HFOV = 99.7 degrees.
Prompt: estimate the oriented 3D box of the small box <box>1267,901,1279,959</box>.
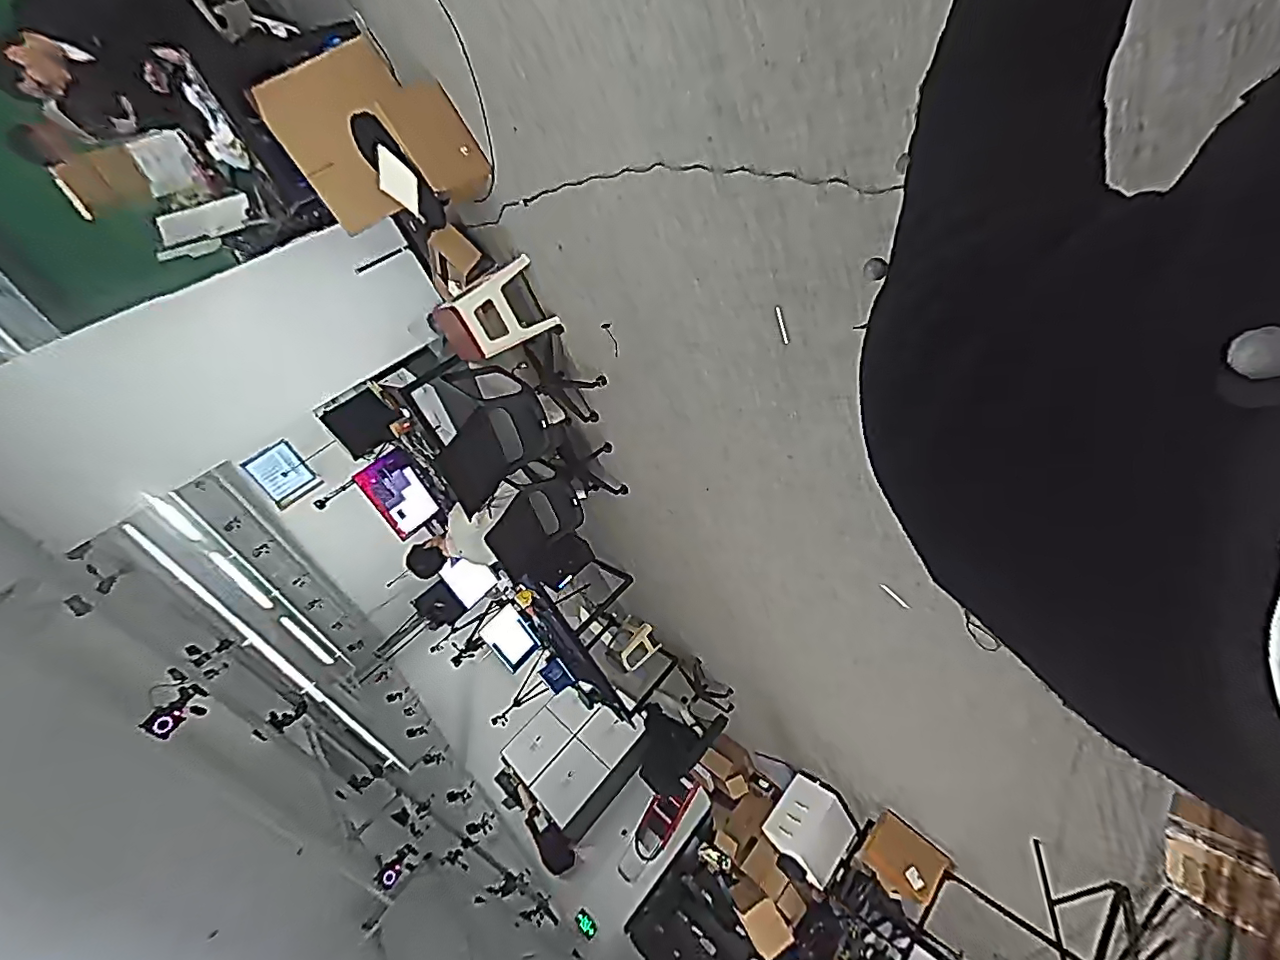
[{"bbox_3d":[1.560,1.091,1.221,0.168,0.176,0.179,12,133,49],"label":"small box"}]
